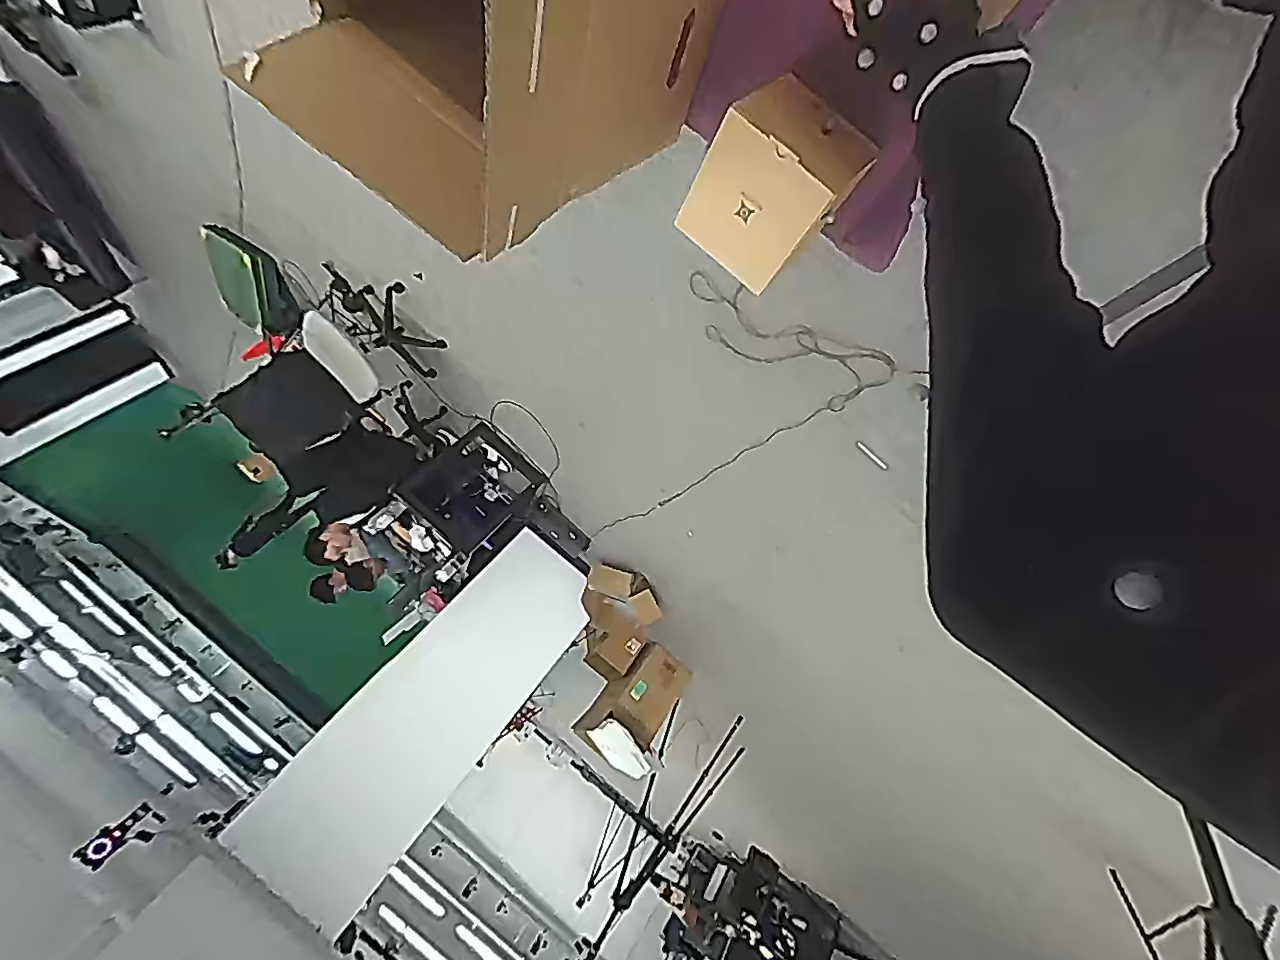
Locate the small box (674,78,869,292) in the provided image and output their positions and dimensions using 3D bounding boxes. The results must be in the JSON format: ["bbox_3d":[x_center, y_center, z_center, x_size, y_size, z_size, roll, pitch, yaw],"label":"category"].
[{"bbox_3d":[0.182,-0.407,0.751,0.168,0.176,0.179,41,147,1],"label":"small box"}]
